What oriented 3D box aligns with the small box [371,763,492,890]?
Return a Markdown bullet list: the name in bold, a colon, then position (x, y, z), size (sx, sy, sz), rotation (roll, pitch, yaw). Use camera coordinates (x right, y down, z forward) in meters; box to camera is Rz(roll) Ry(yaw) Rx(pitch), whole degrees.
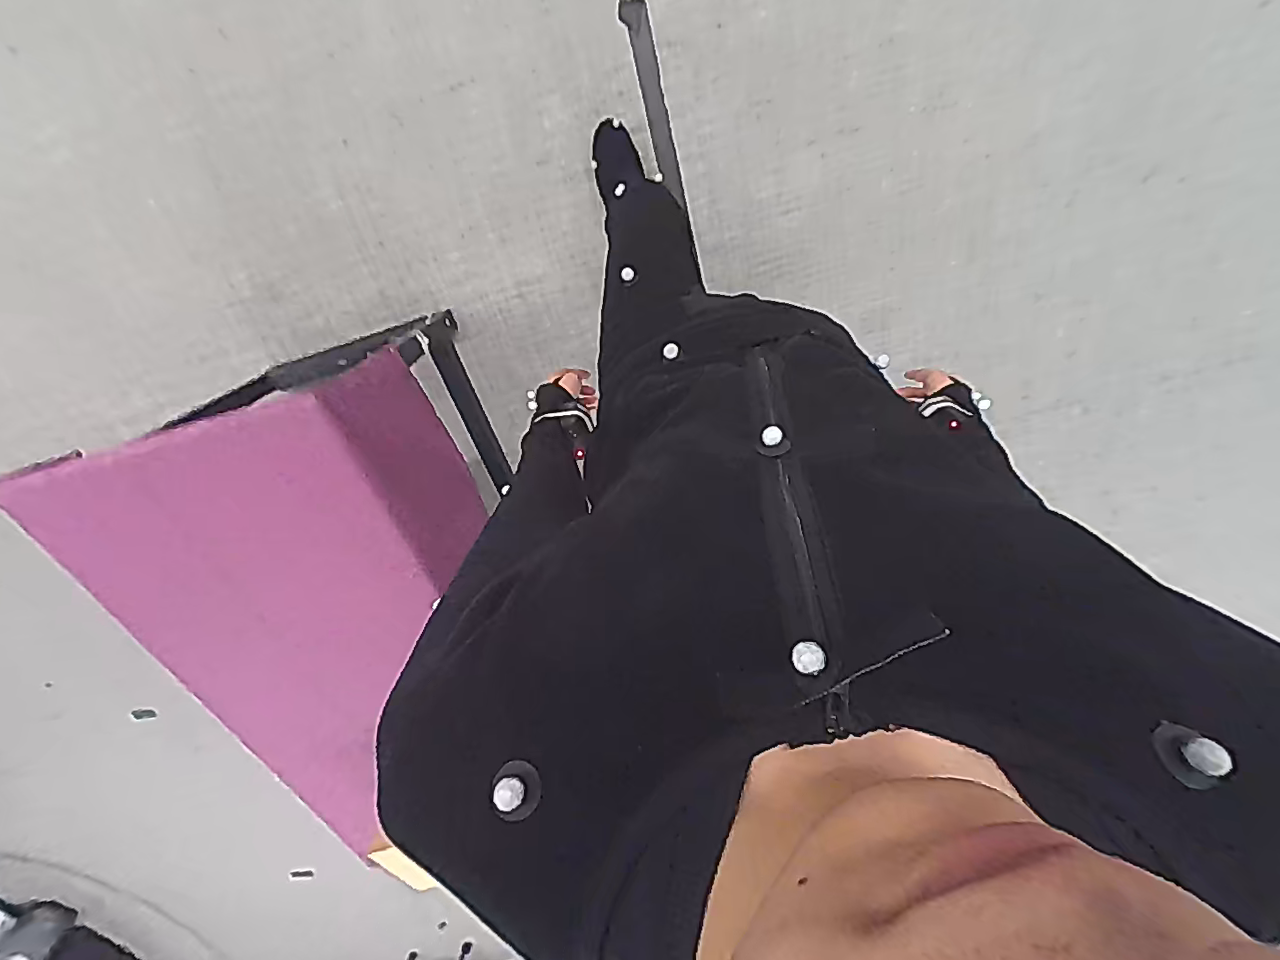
- **small box**: position (-0.450, 0.768, 1.208), size (0.179, 0.176, 0.168), rotation (-25, 116, 13)
